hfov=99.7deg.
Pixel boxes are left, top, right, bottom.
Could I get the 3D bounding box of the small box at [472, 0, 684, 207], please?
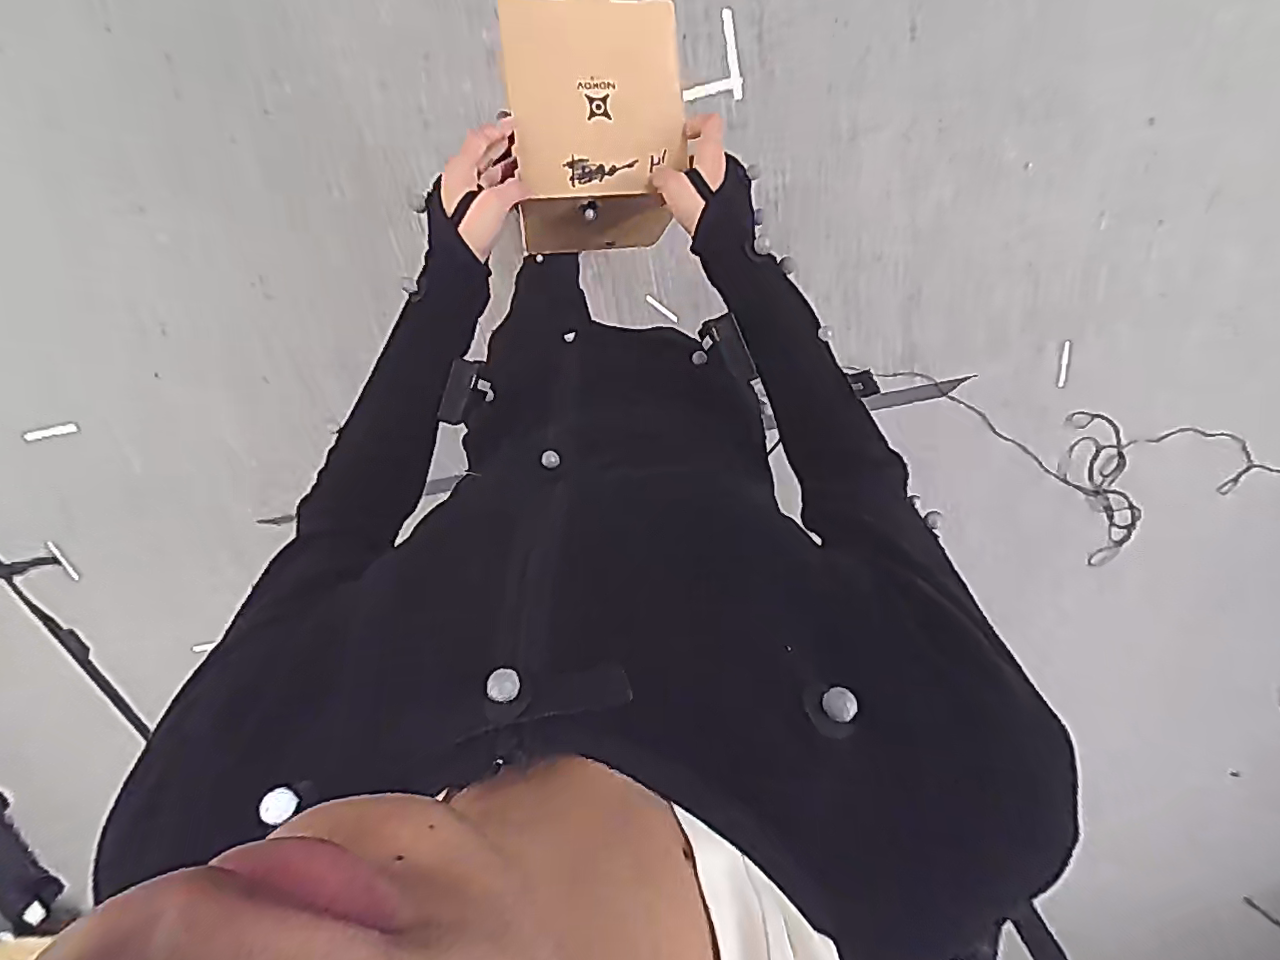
[{"bbox_3d":[-0.066,-0.381,0.509,0.168,0.176,0.179,-7,97,-10],"label":"small box"}]
